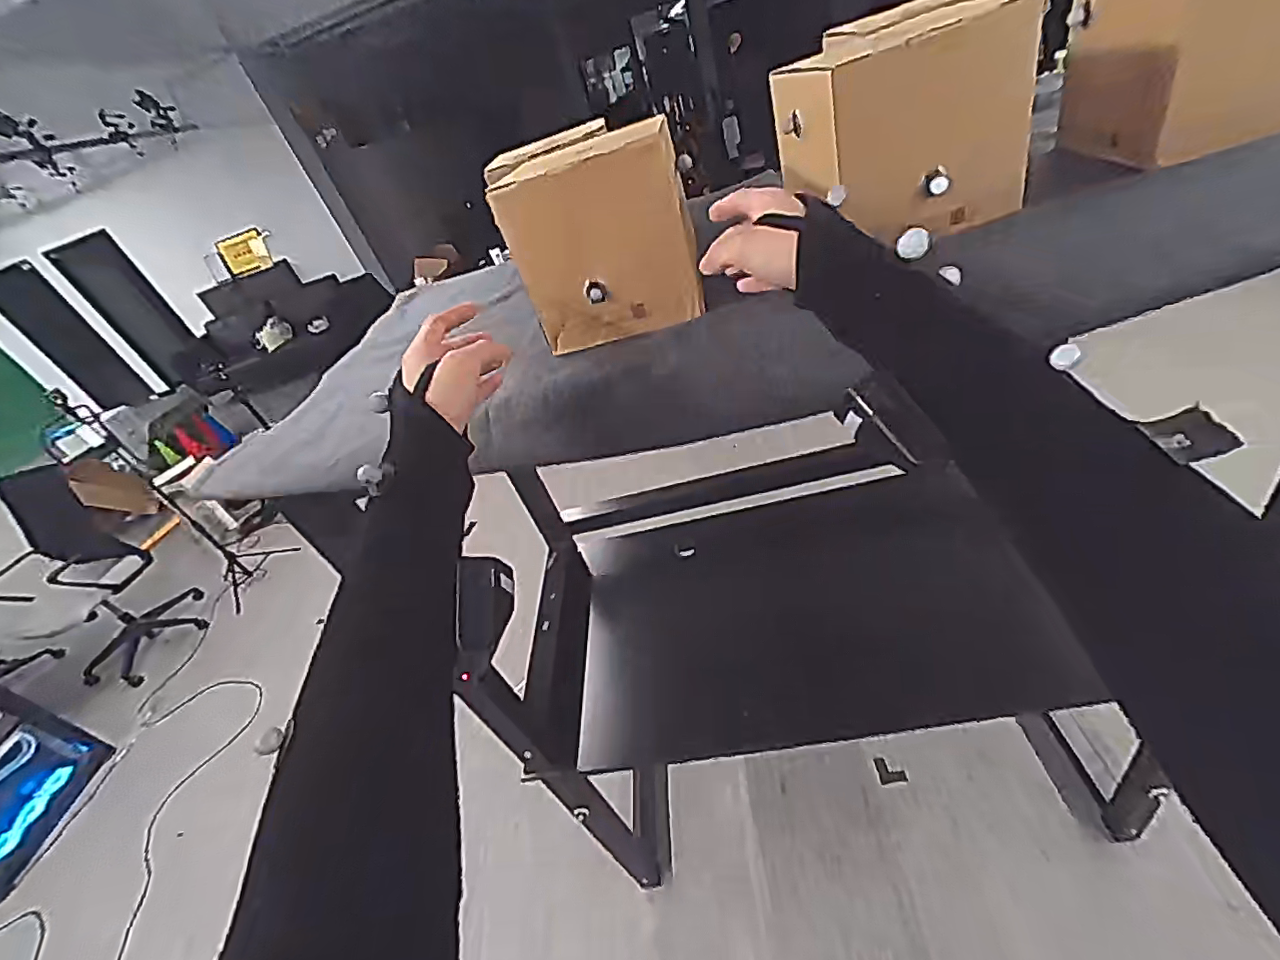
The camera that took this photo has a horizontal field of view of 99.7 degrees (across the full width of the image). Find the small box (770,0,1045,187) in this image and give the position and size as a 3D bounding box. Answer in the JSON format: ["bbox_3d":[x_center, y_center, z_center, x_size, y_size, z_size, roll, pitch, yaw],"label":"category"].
[{"bbox_3d":[0.226,-0.387,0.489,0.168,0.176,0.179,-17,37,6],"label":"small box"}]

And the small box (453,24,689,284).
[{"bbox_3d":[-0.050,-0.316,0.536,0.168,0.176,0.179,-11,37,13],"label":"small box"}]
